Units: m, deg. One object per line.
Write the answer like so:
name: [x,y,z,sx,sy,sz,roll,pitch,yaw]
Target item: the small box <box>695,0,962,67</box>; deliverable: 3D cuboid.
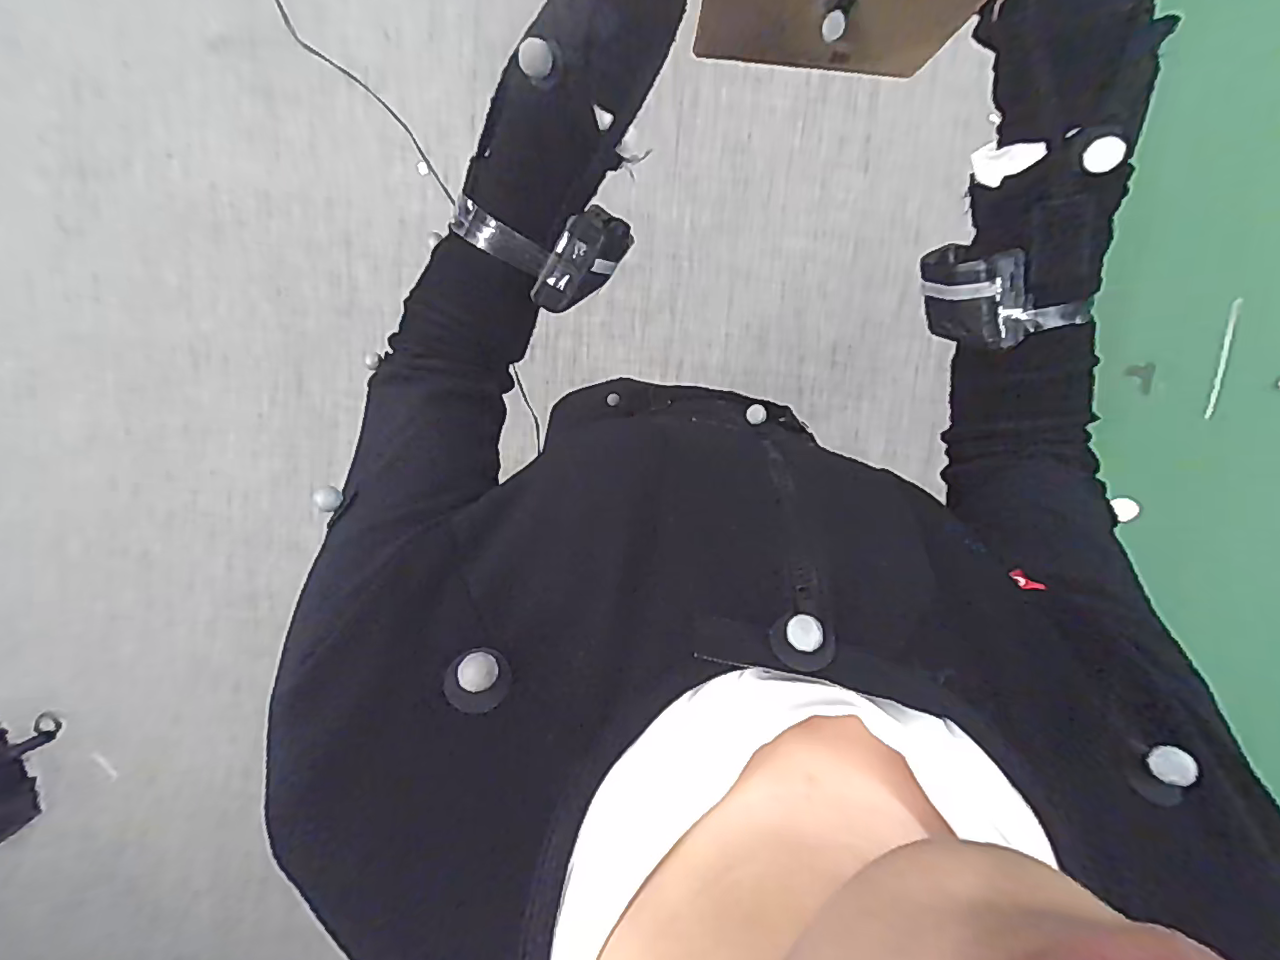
small box: [0.124,-0.370,0.303,0.168,0.176,0.179,5,105,0]
